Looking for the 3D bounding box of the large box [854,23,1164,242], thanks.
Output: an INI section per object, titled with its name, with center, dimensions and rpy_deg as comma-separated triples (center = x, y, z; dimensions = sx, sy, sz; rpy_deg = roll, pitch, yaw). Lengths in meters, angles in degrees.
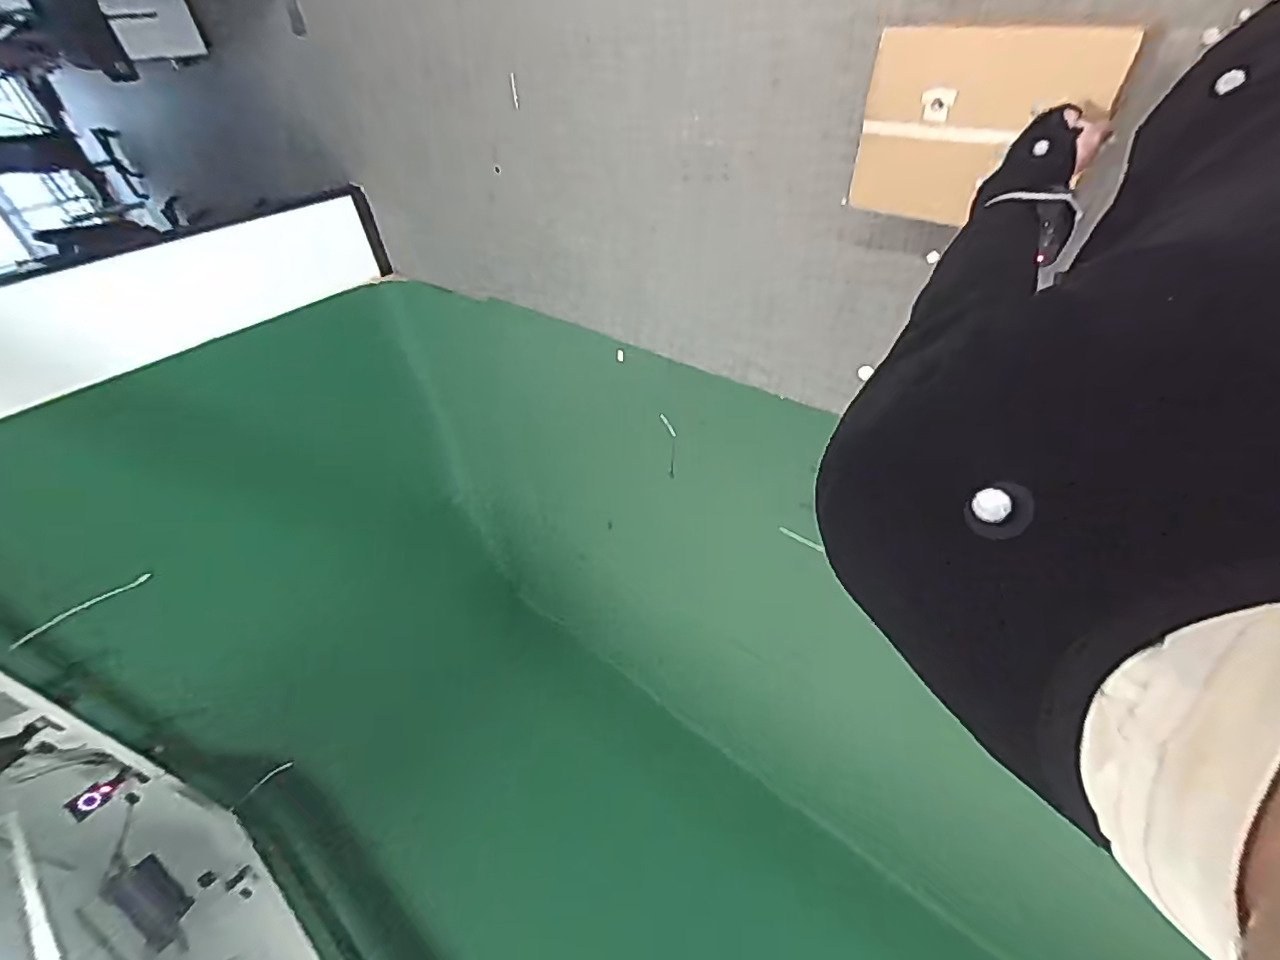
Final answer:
[large box]
center = 0.724, -0.720, 1.105
dimensions = 0.408, 0.320, 0.320
rpy_deg = 29, 140, 30
